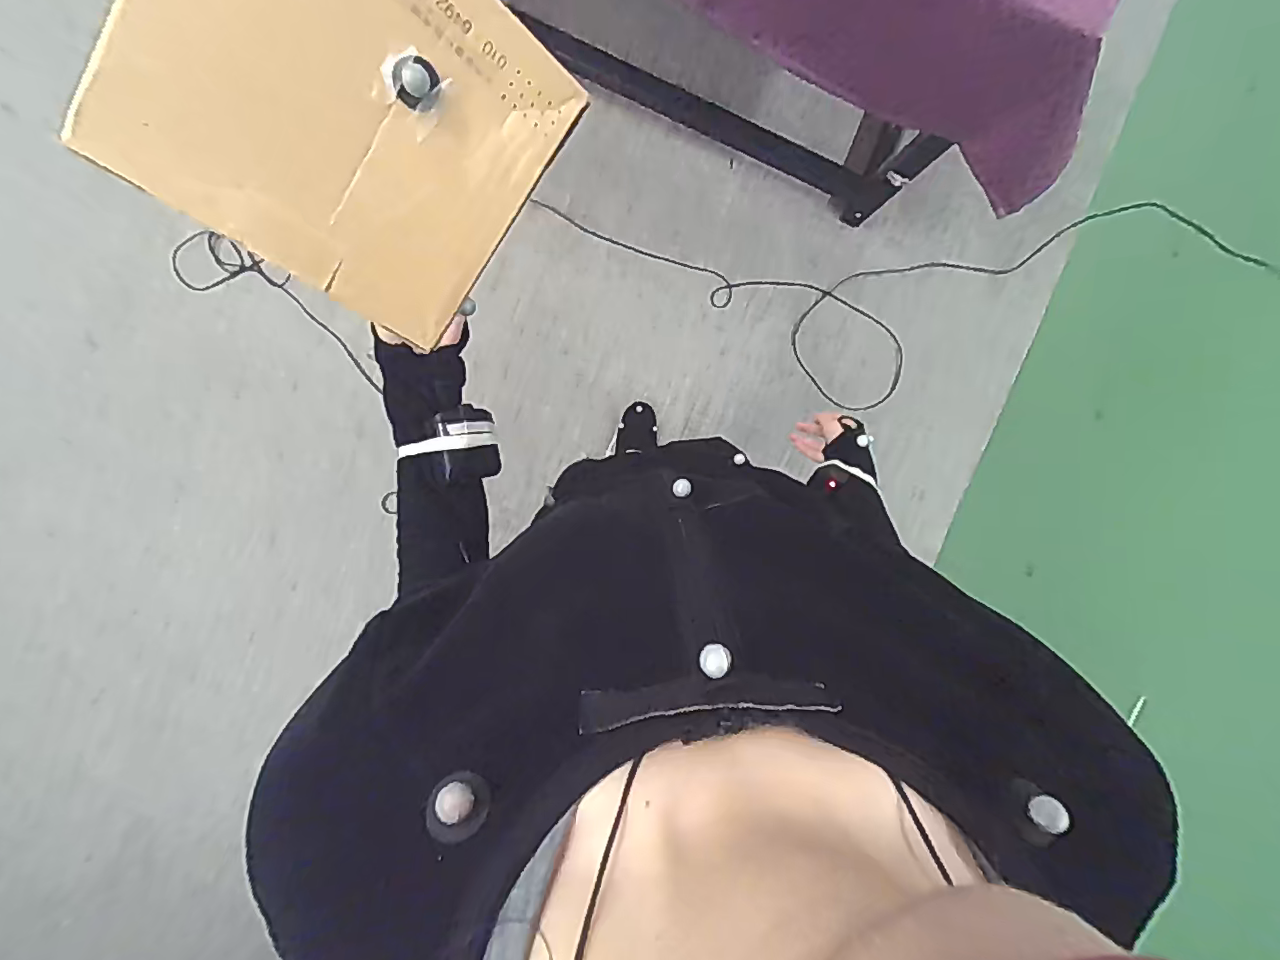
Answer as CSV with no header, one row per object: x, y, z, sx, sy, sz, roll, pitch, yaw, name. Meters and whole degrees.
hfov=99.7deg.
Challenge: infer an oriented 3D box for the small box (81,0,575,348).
-0.163,-0.214,0.328,0.168,0.179,0.176,30,102,-35,small box
